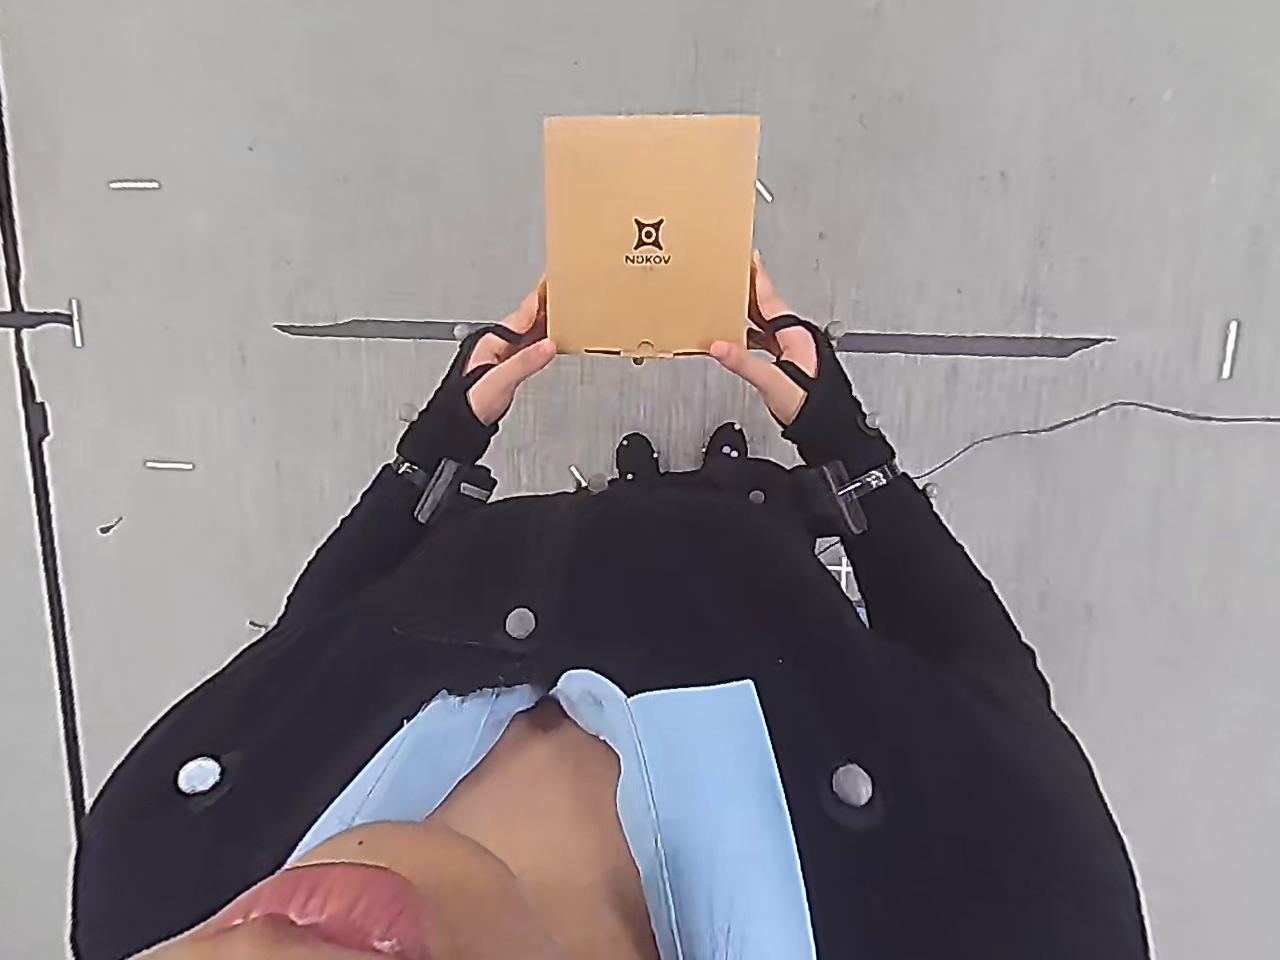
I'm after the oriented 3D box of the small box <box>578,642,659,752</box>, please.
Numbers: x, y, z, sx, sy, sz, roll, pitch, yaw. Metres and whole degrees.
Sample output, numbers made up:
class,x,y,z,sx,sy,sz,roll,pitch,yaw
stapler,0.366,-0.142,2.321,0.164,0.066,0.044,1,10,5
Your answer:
class,x,y,z,sx,sy,sz,roll,pitch,yaw
small box,-0.045,0.506,1.278,0.168,0.176,0.179,4,97,4

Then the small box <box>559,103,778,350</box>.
class,x,y,z,sx,sy,sz,roll,pitch,yaw
small box,0.021,-0.212,0.495,0.168,0.176,0.179,2,106,3
